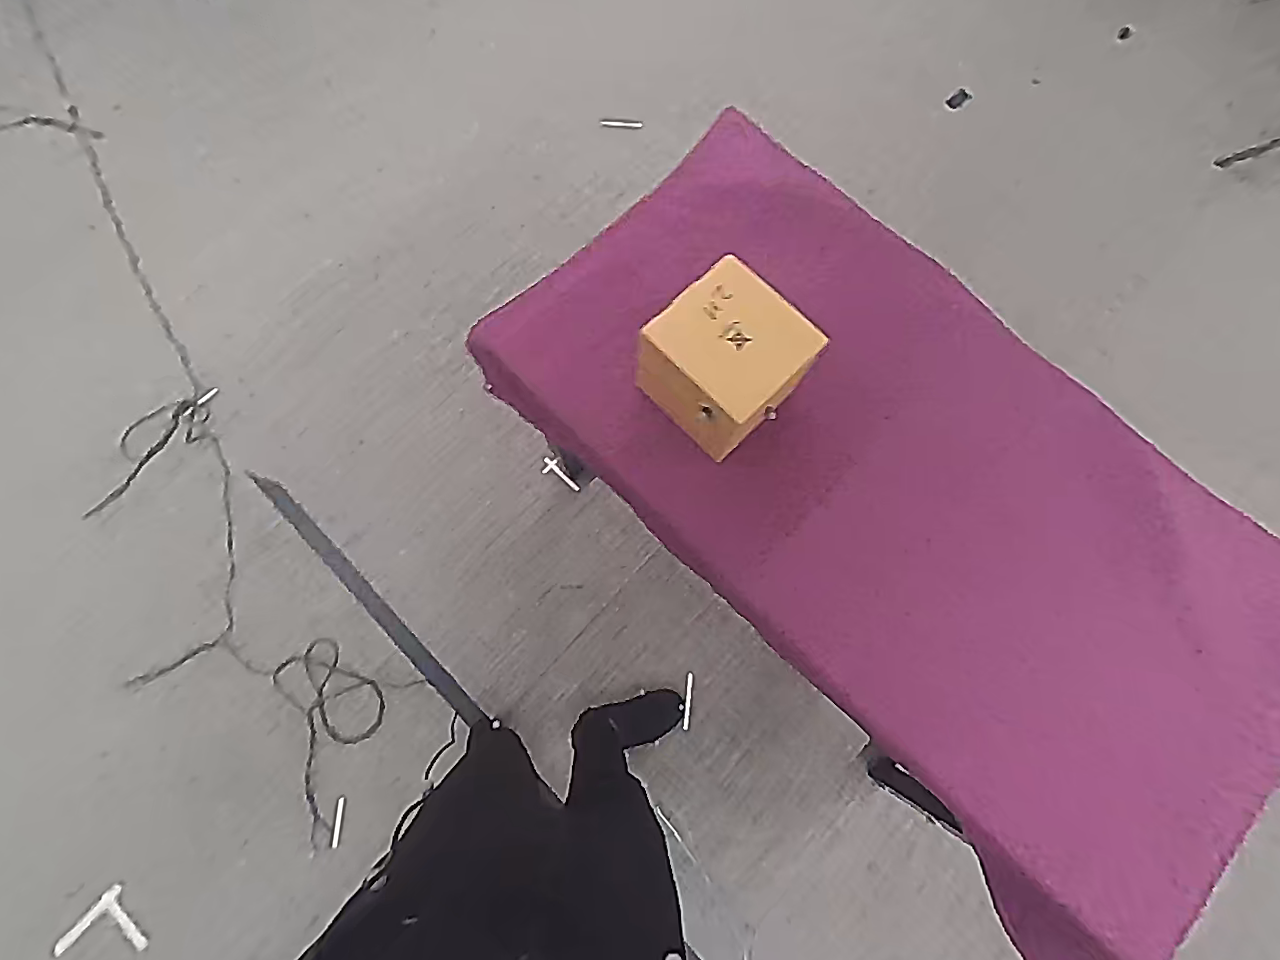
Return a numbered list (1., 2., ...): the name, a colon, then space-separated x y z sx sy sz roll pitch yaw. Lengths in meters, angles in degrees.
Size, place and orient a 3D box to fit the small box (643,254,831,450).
1. small box: 0.120 -0.161 0.747 0.168 0.176 0.179 -42 81 -11
